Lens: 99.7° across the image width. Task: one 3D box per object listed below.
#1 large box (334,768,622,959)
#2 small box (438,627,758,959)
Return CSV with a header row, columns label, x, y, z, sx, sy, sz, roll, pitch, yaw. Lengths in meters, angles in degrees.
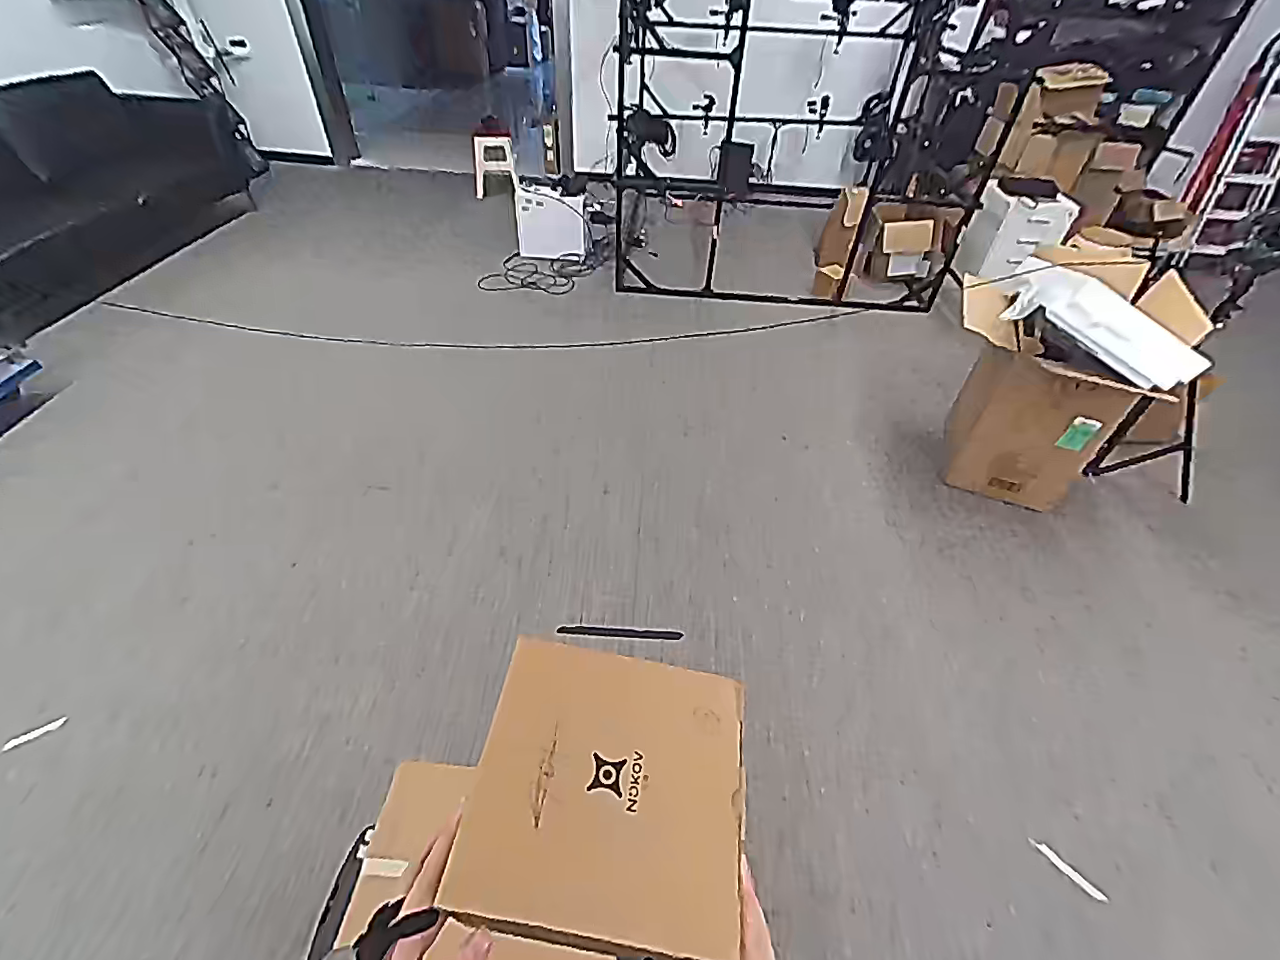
label,x,y,z,sx,sy,sz,roll,pitch,yaw
large box,-0.227,0.721,0.924,0.408,0.320,0.320,4,43,2
small box,-0.022,0.236,0.400,0.179,0.176,0.168,12,47,1
